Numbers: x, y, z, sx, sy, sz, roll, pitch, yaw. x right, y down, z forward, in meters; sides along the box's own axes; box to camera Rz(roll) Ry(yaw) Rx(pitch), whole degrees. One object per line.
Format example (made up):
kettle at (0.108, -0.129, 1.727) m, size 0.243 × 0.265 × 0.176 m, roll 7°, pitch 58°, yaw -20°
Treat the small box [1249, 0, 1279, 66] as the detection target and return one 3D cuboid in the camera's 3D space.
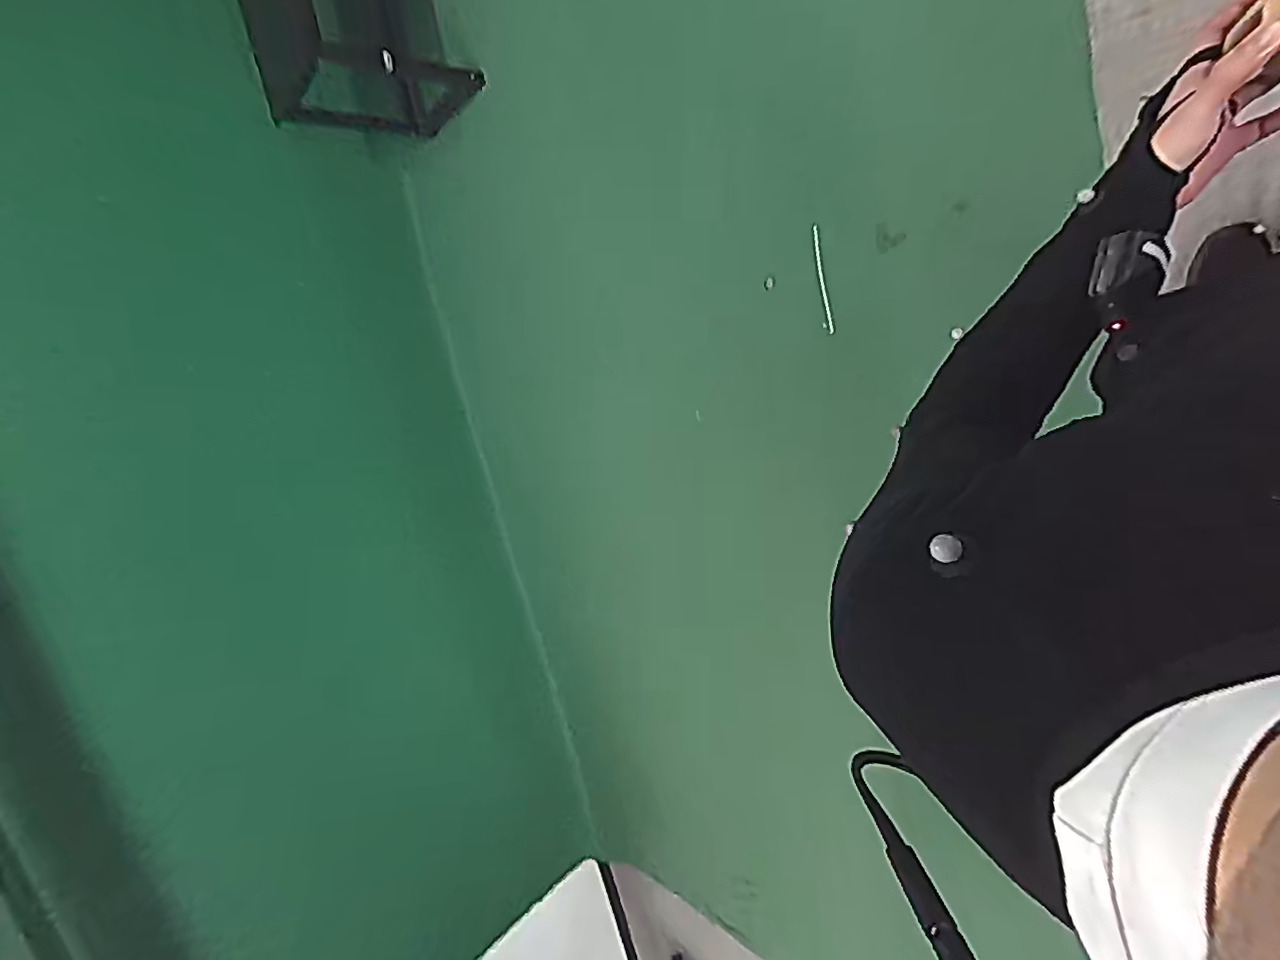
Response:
small box at (0.513, -0.389, 0.331) m, size 0.168 × 0.176 × 0.179 m, roll 8°, pitch 114°, yaw 48°
